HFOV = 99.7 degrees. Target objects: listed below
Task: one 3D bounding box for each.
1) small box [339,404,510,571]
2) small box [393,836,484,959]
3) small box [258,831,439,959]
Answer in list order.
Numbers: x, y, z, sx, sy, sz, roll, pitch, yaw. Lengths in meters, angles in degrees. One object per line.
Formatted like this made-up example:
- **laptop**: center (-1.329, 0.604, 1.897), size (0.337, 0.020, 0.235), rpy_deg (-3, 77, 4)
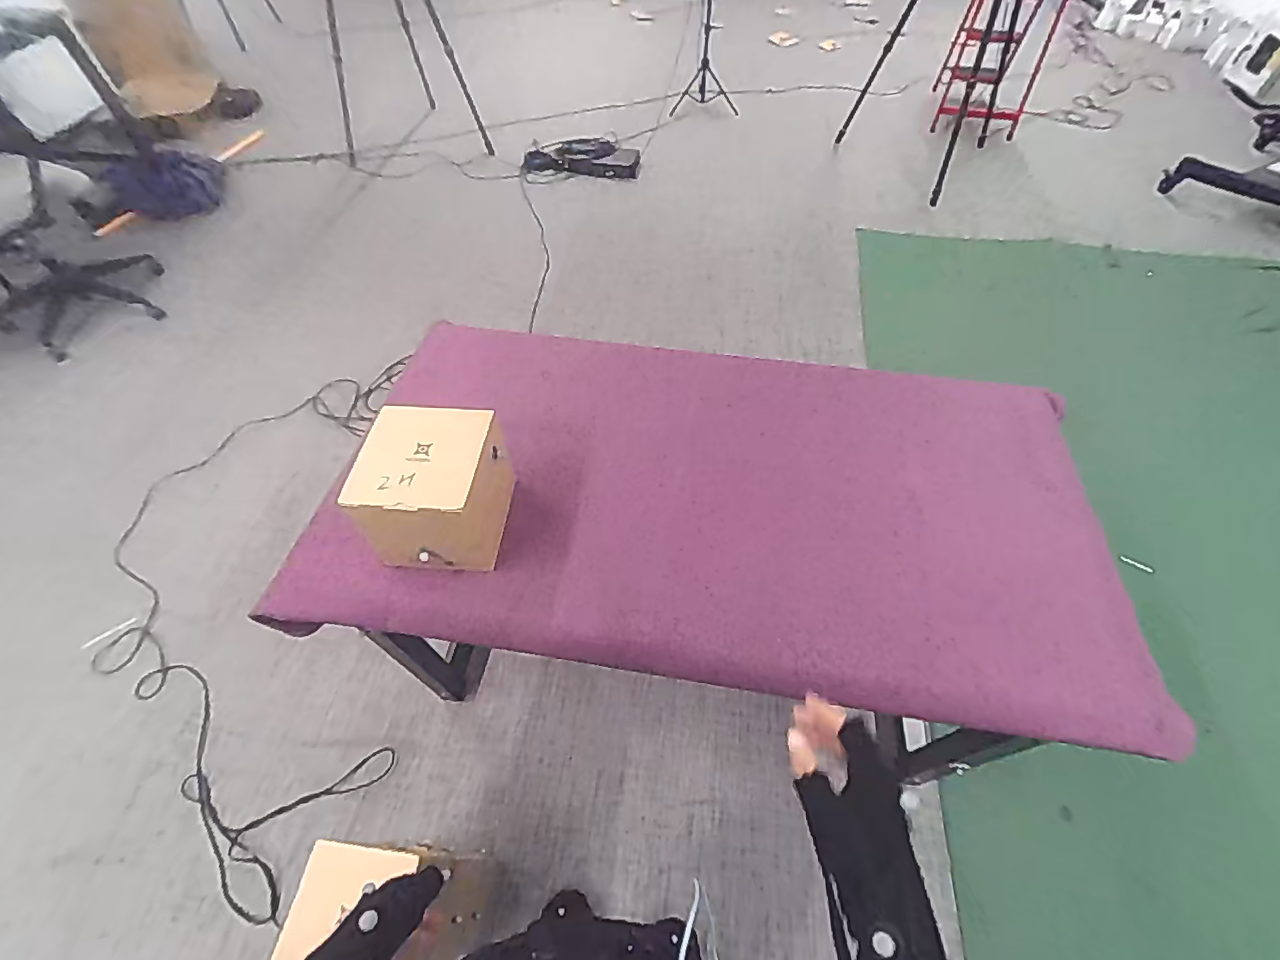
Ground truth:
- **small box**: center (-0.297, 0.012, 0.796), size (0.168, 0.176, 0.179), rpy_deg (4, 54, 2)
- **small box**: center (-0.432, 0.843, 1.095), size (0.168, 0.176, 0.179), rpy_deg (9, 56, 6)
- **small box**: center (-0.428, 0.654, 0.826), size (0.168, 0.176, 0.179), rpy_deg (7, 57, 4)
